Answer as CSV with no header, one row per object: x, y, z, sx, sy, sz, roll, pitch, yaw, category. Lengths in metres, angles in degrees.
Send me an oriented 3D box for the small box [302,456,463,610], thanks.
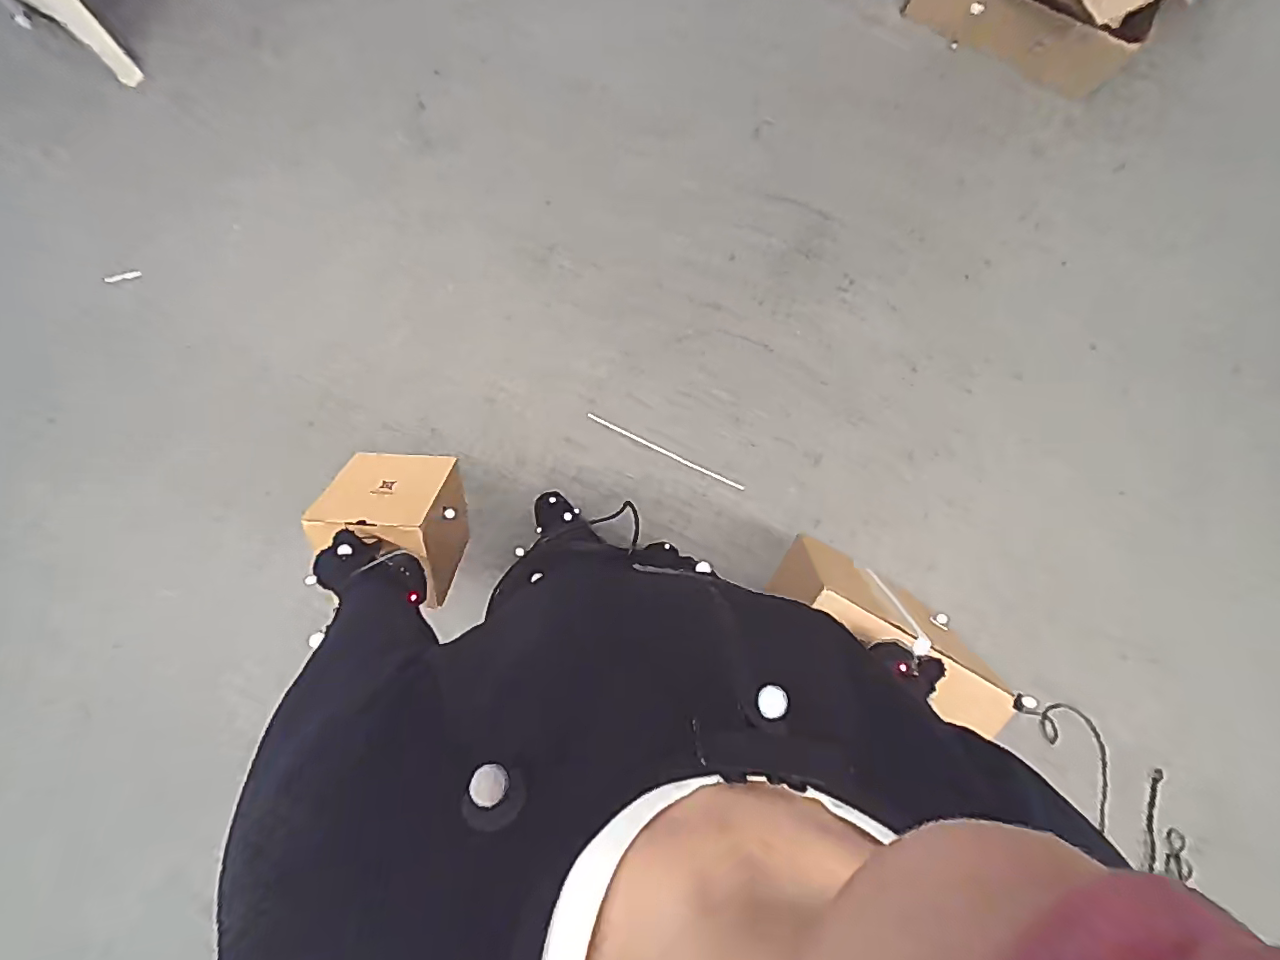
-0.389,0.081,0.858,0.168,0.179,0.176,2,125,-1,small box
